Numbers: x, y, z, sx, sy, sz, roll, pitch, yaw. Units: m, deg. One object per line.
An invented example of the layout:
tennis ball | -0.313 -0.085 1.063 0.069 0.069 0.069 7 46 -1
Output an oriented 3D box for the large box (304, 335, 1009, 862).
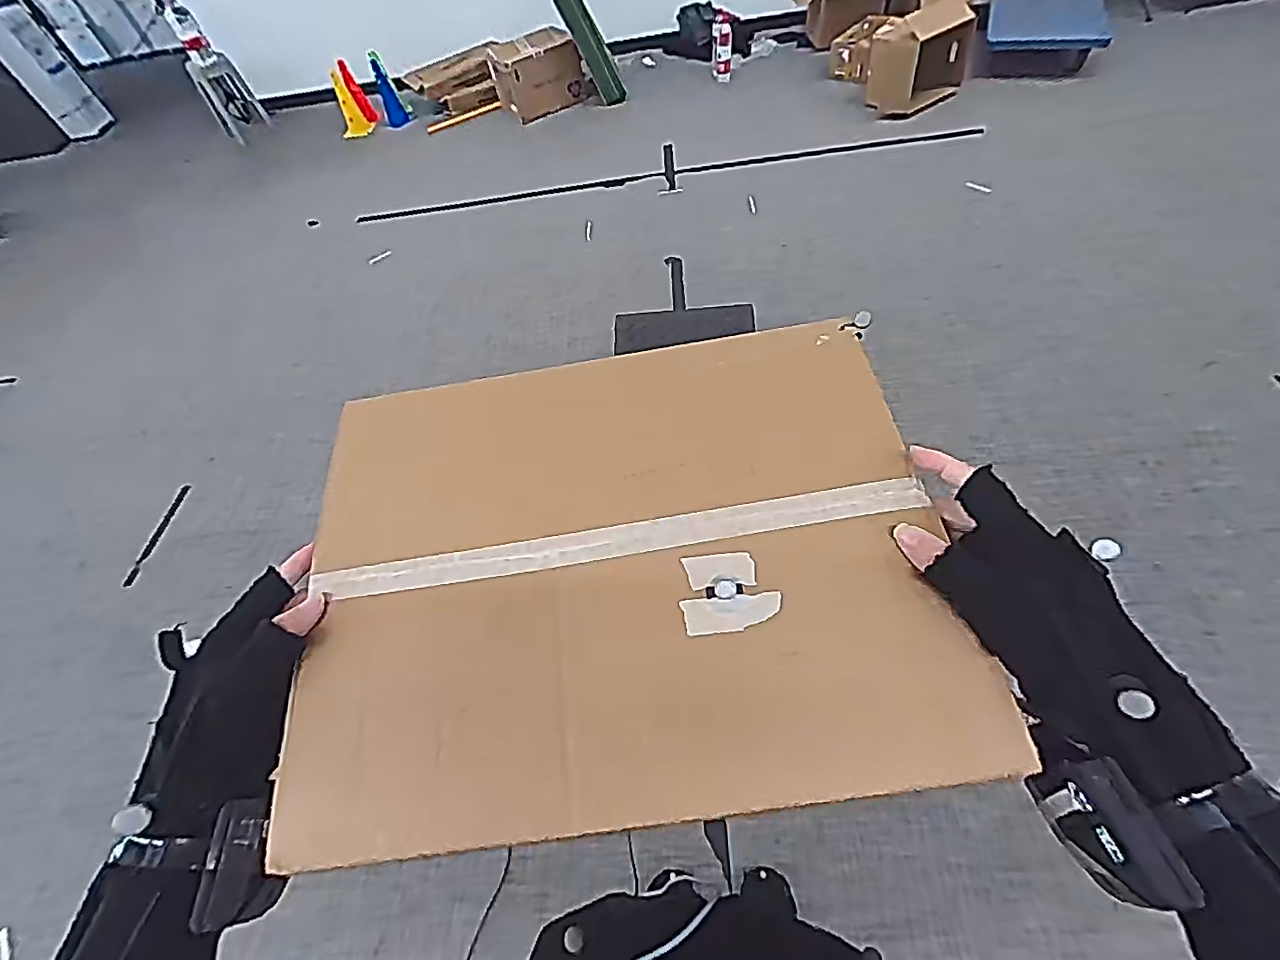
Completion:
large box | 0.001 0.118 0.497 0.408 0.320 0.320 -9 62 2
